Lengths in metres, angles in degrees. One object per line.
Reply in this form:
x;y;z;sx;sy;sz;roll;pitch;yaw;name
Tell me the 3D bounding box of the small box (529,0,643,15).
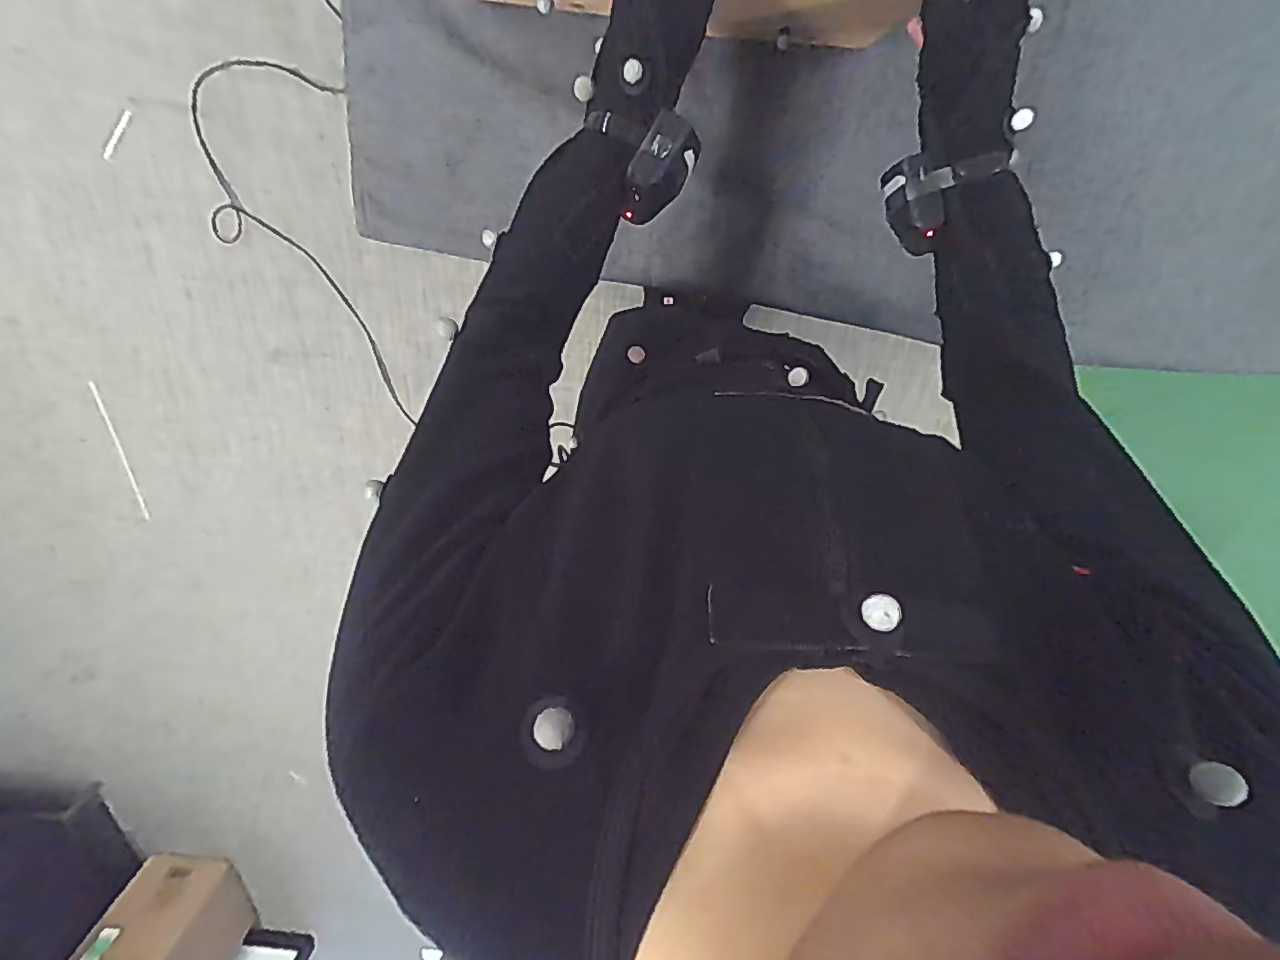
-0.071;-0.502;0.414;0.168;0.176;0.179;8;117;0;small box
